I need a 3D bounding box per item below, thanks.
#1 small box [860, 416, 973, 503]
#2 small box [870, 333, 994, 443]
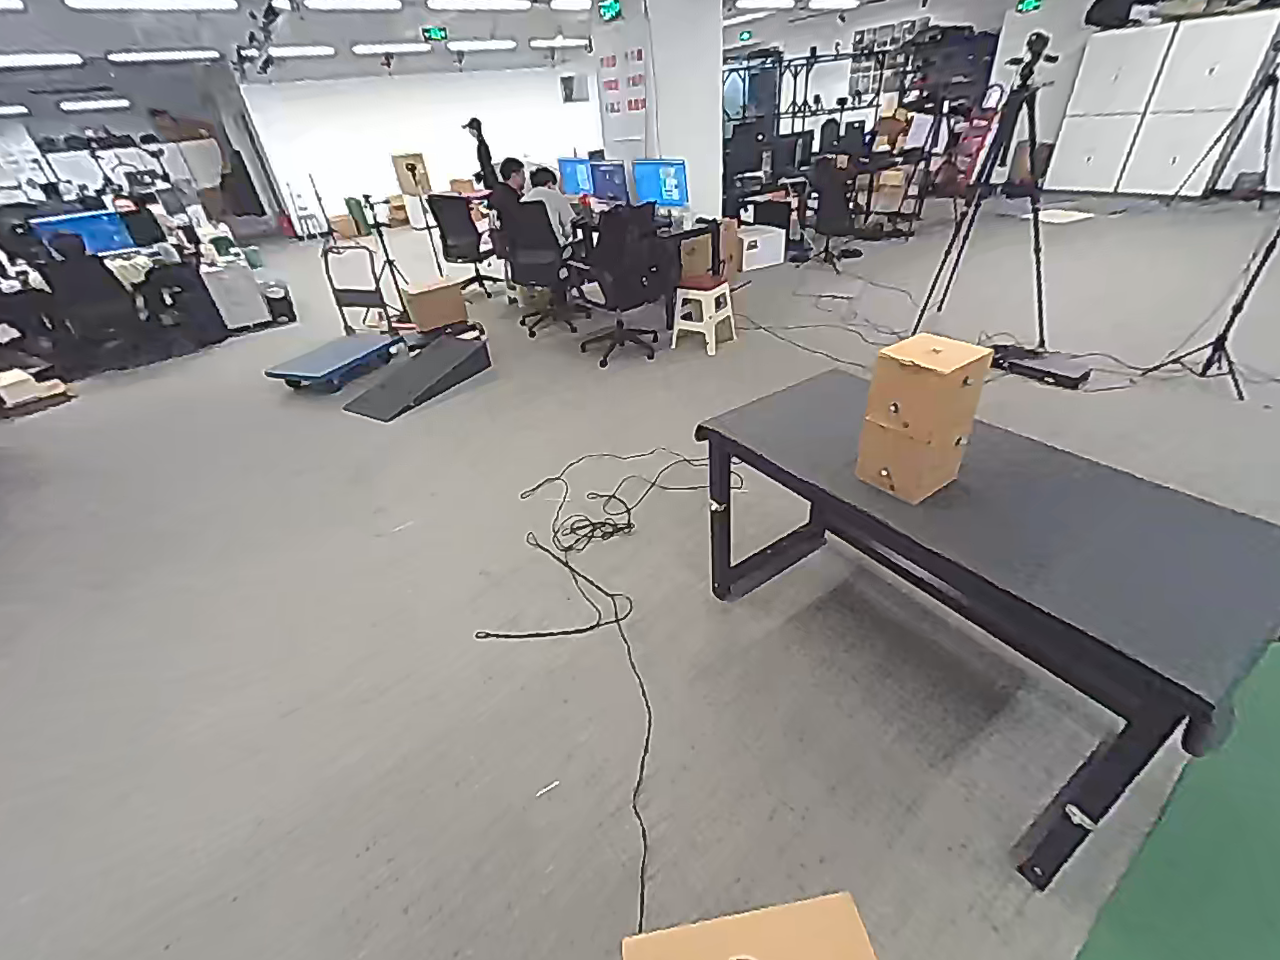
[{"bbox_3d":[0.652,-0.073,1.297,0.179,0.176,0.168,-24,37,-26],"label":"small box"},{"bbox_3d":[0.640,-0.207,1.207,0.179,0.176,0.168,-24,38,-26],"label":"small box"}]
